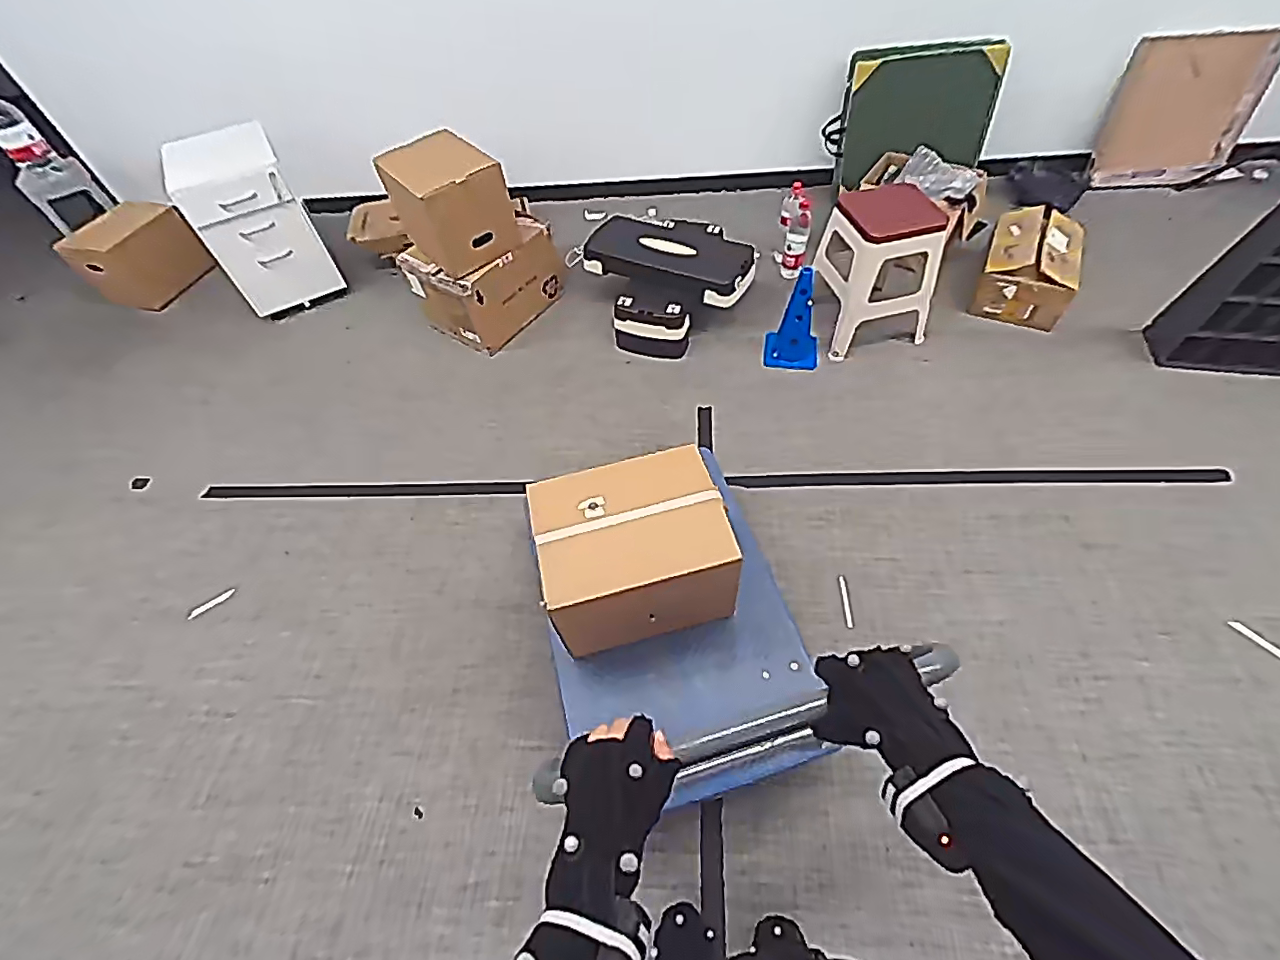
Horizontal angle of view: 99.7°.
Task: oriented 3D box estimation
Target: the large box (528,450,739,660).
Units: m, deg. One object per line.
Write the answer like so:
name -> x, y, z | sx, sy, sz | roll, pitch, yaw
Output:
large box -> -0.013, 0.184, 1.279 | 0.408, 0.320, 0.320 | -15, 54, -4
